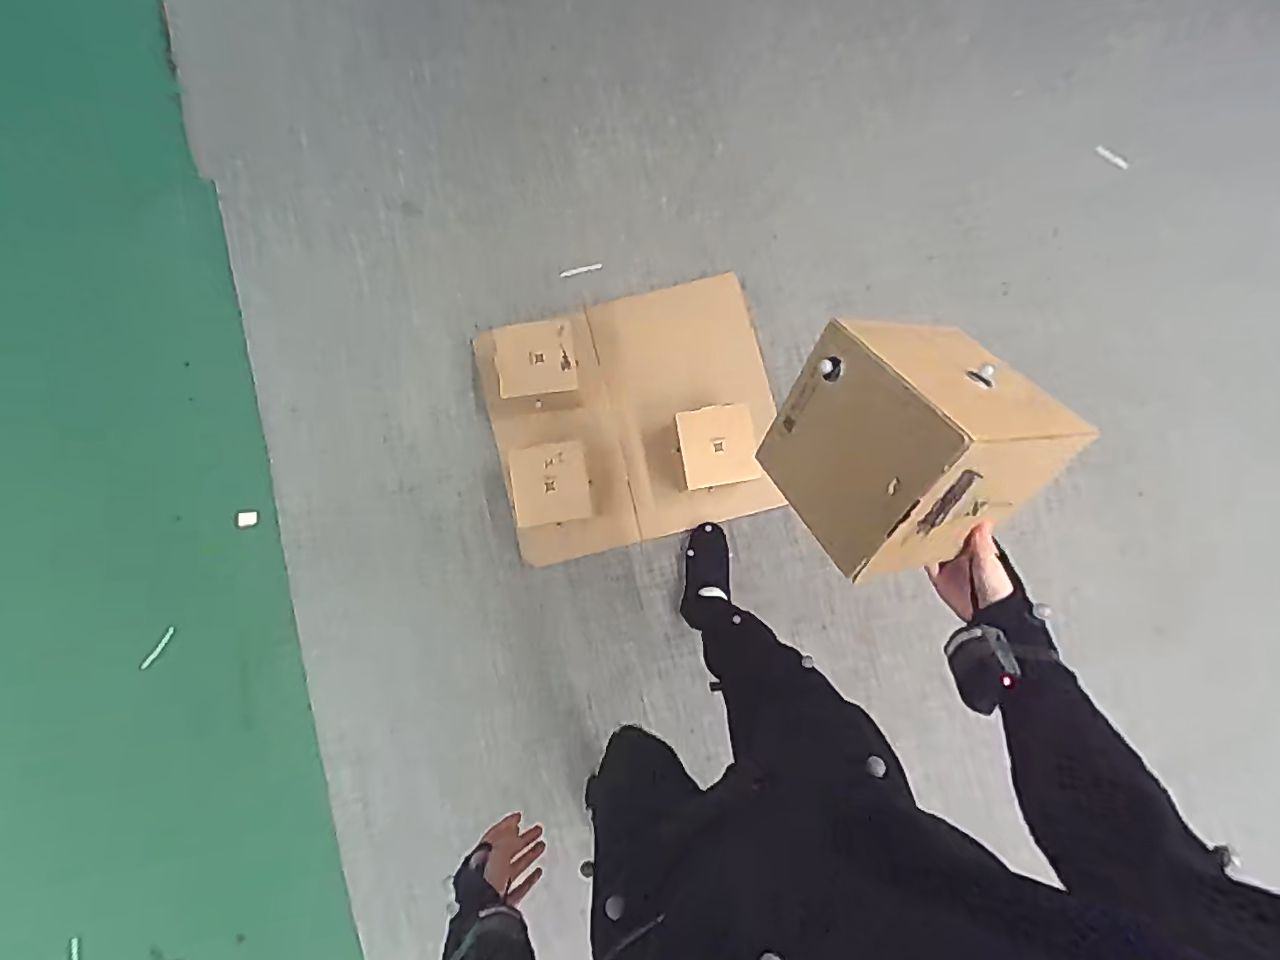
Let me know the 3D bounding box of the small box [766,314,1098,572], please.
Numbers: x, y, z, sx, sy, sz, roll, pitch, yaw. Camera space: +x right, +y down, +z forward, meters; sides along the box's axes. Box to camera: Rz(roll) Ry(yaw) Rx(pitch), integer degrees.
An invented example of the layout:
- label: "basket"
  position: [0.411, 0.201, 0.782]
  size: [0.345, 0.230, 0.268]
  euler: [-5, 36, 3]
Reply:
- label: "small box"
  position: [0.251, -0.041, 0.507]
  size: [0.179, 0.168, 0.176]
  euler: [-6, 46, -28]

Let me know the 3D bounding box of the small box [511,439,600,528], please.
- label: "small box"
  position: [-0.188, 0.012, 1.245]
  size: [0.168, 0.176, 0.179]
  euler: [-8, 85, -1]

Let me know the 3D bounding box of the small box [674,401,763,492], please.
- label: "small box"
  position: [0.175, -0.069, 1.248]
  size: [0.168, 0.176, 0.179]
  euler: [-10, 85, -1]

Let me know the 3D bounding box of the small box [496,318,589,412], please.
- label: "small box"
  position: [-0.223, -0.262, 1.269]
  size: [0.179, 0.176, 0.168]
  euler: [-7, 85, 0]
